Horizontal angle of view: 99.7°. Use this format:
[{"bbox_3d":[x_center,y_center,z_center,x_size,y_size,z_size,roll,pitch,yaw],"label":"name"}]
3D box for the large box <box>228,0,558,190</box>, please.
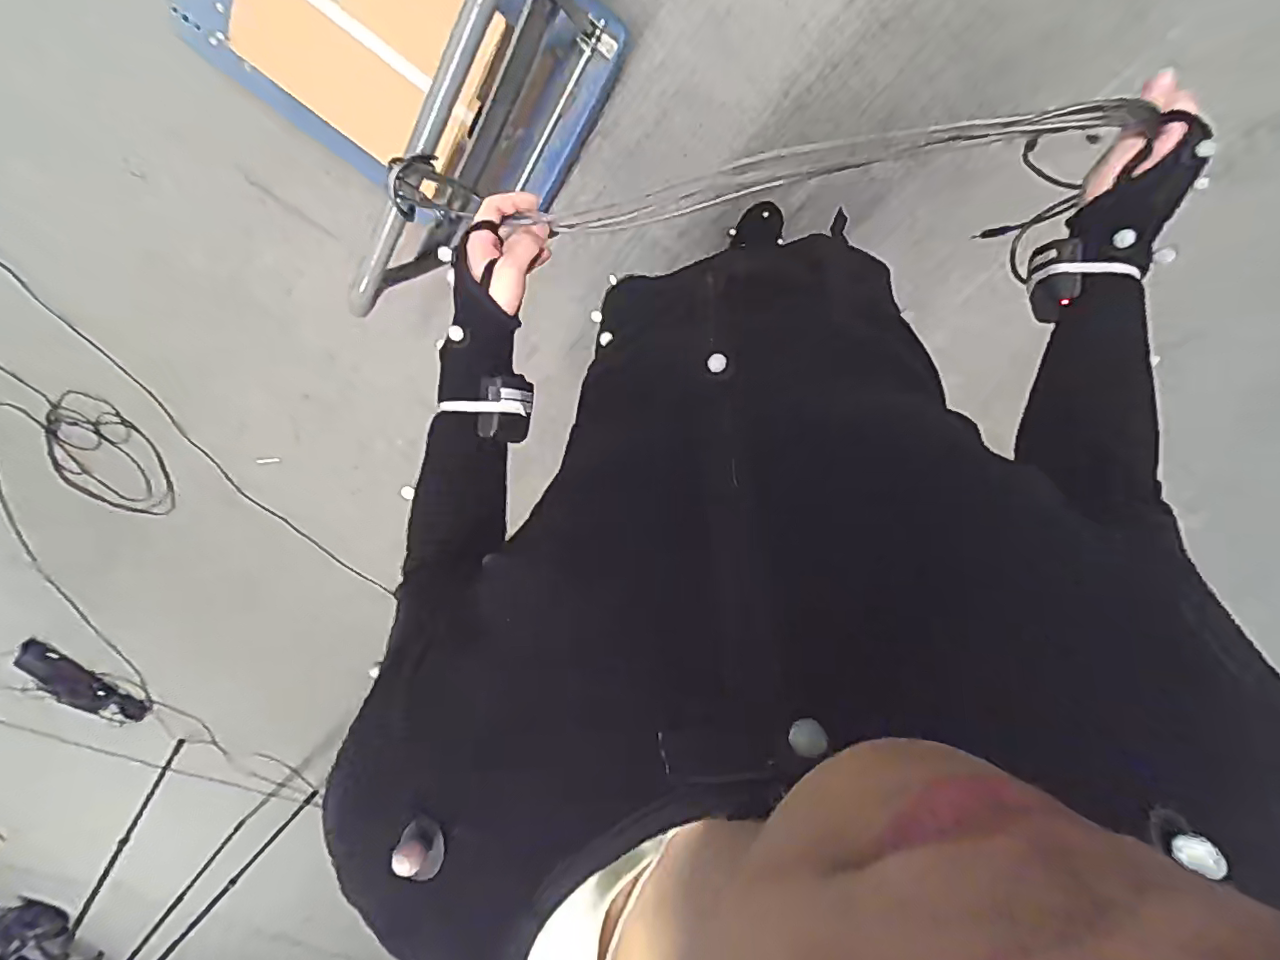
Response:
[{"bbox_3d":[-0.426,-0.806,0.999,0.408,0.320,0.320,36,118,-11],"label":"large box"}]
